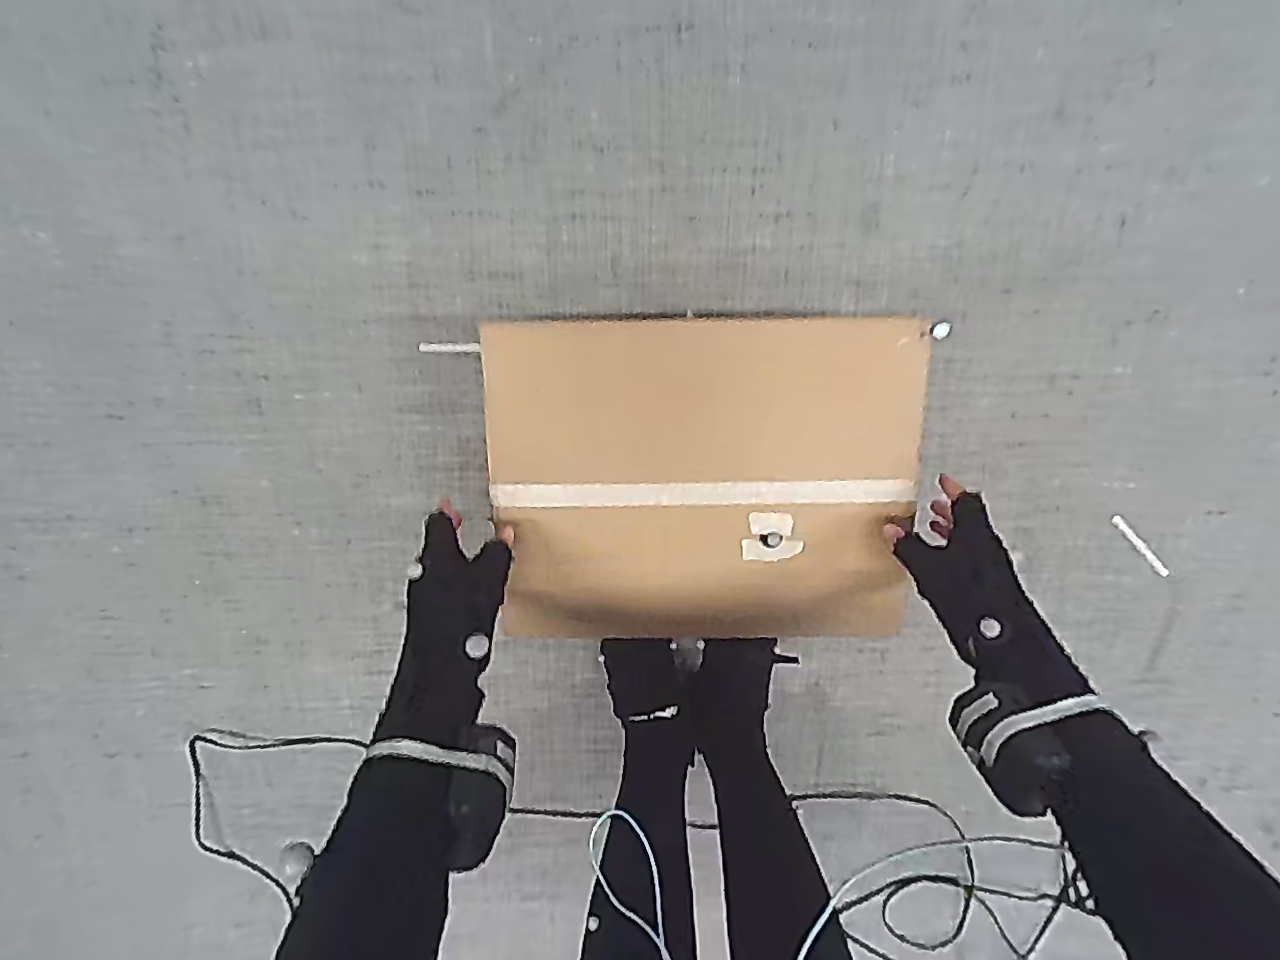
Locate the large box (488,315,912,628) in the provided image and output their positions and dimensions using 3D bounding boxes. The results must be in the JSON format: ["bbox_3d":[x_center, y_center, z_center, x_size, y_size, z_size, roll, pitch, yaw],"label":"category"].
[{"bbox_3d":[0.057,-0.030,0.680,0.408,0.320,0.320,-1,103,0],"label":"large box"}]
